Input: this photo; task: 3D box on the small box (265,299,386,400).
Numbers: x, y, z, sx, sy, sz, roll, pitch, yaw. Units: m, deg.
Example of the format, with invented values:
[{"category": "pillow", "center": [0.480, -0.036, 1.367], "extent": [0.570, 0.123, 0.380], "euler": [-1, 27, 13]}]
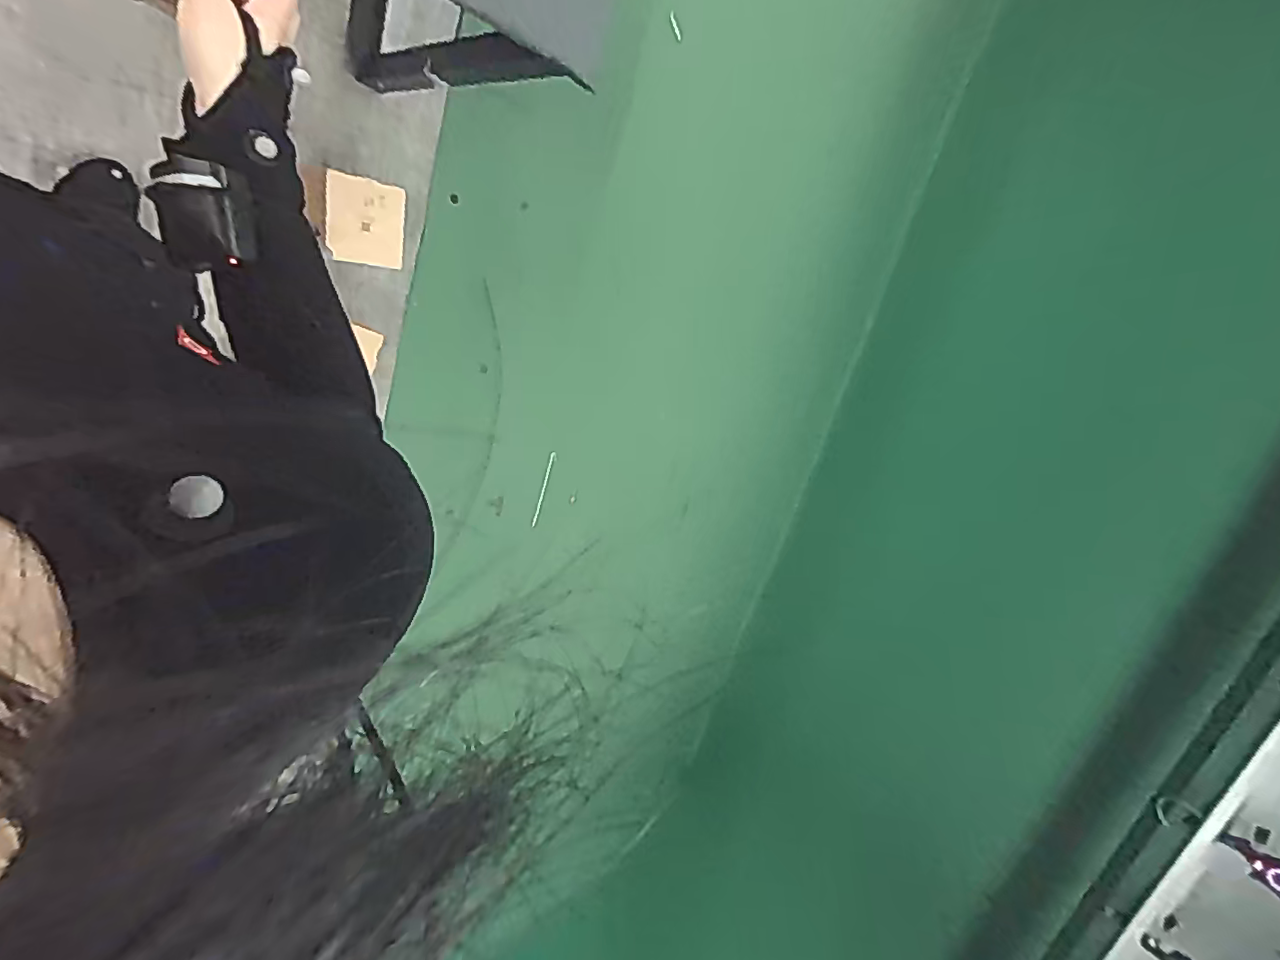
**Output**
[{"category": "small box", "center": [-0.747, -0.312, 1.284], "extent": [0.179, 0.176, 0.168], "euler": [15, 102, -53]}]

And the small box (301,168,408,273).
[{"category": "small box", "center": [-0.649, -0.585, 1.223], "extent": [0.168, 0.176, 0.179], "euler": [-10, 120, -47]}]
